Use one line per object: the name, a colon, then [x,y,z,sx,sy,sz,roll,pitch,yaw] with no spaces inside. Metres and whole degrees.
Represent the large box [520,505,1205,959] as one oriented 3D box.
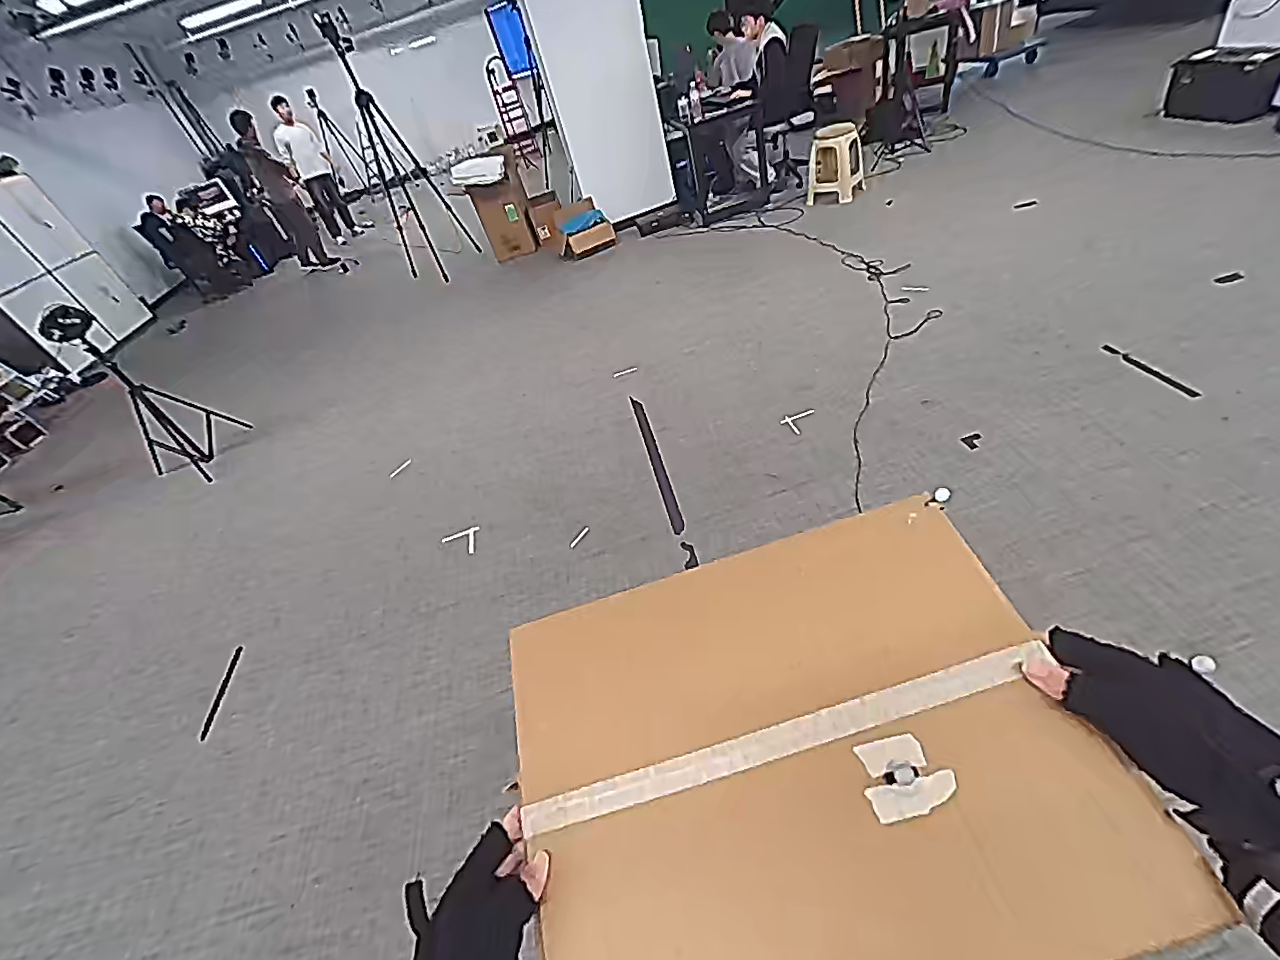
large box: [0.141,0.288,0.526,0.408,0.320,0.320,-19,52,1]
